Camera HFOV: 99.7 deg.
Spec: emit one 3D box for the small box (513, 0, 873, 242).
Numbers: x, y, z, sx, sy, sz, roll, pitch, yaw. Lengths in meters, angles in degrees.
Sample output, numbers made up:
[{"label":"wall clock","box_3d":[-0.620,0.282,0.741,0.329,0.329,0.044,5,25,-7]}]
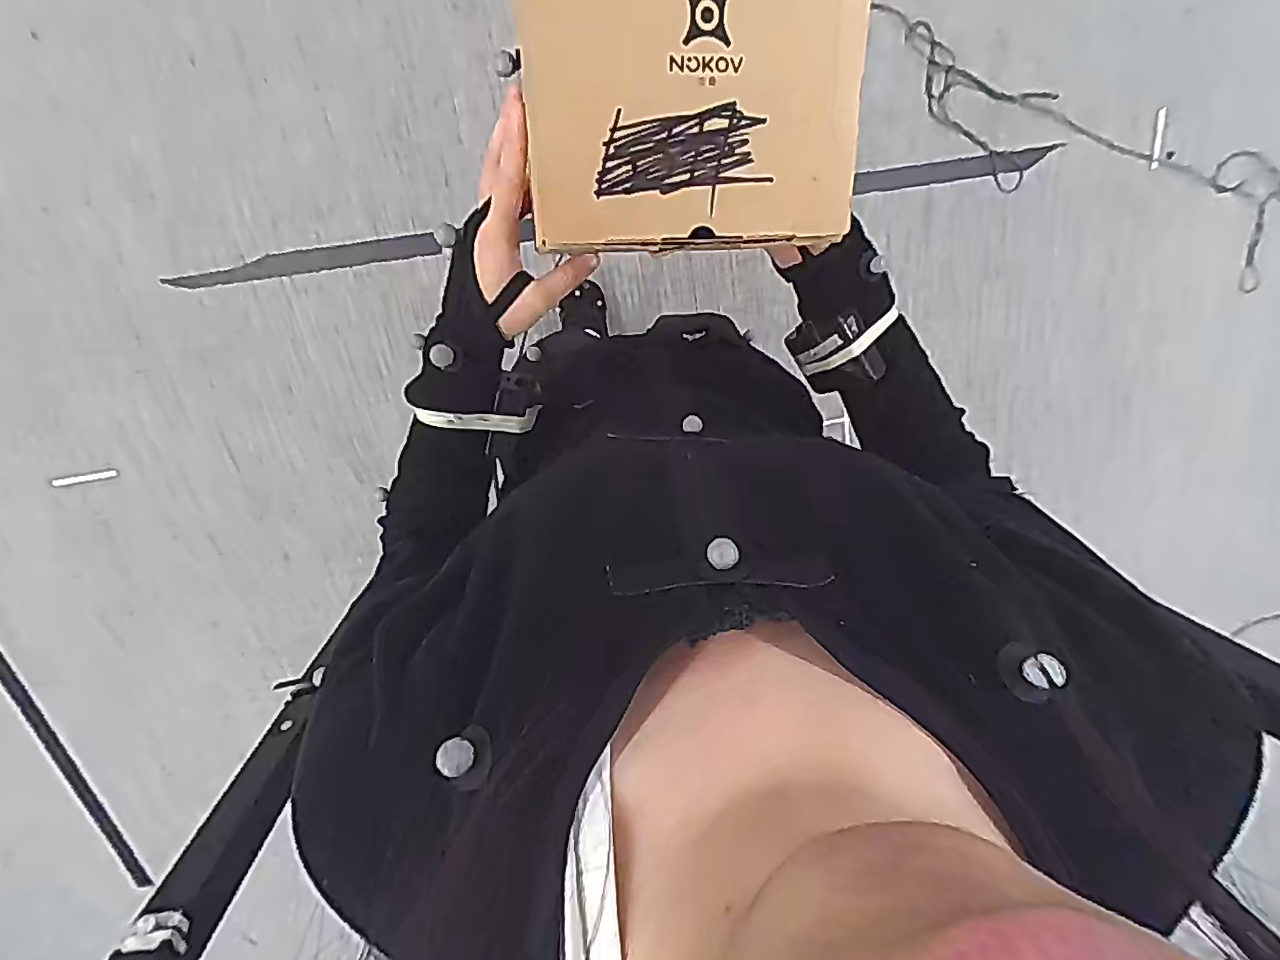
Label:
[{"label":"small box","box_3d":[0.014,-0.236,0.316,0.168,0.176,0.179,-6,112,-10]}]
